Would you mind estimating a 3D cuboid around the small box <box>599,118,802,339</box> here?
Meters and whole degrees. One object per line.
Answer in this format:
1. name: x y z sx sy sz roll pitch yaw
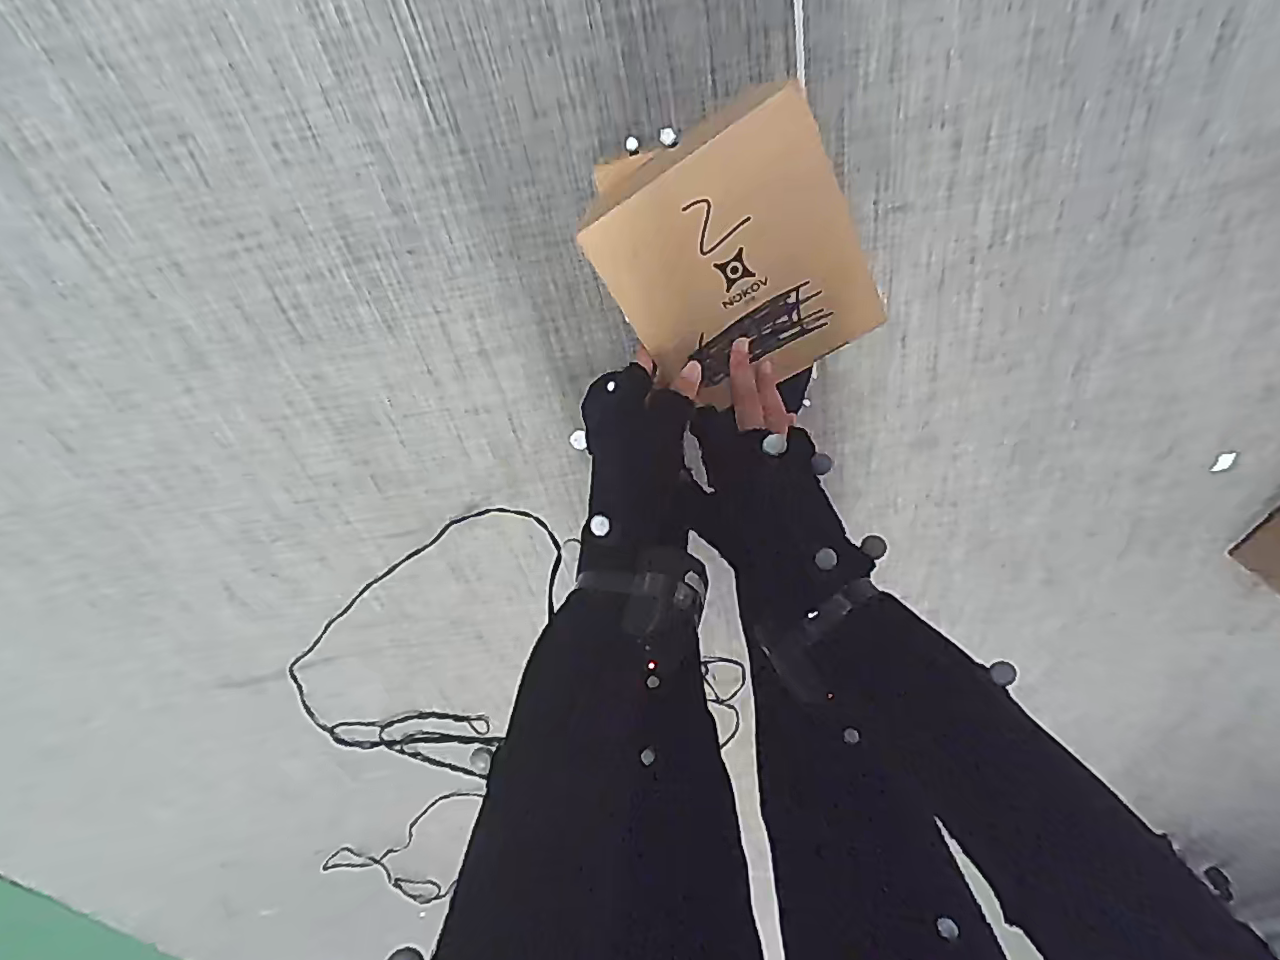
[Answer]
1. small box: 0.063 -0.278 0.588 0.179 0.176 0.168 -12 123 8
